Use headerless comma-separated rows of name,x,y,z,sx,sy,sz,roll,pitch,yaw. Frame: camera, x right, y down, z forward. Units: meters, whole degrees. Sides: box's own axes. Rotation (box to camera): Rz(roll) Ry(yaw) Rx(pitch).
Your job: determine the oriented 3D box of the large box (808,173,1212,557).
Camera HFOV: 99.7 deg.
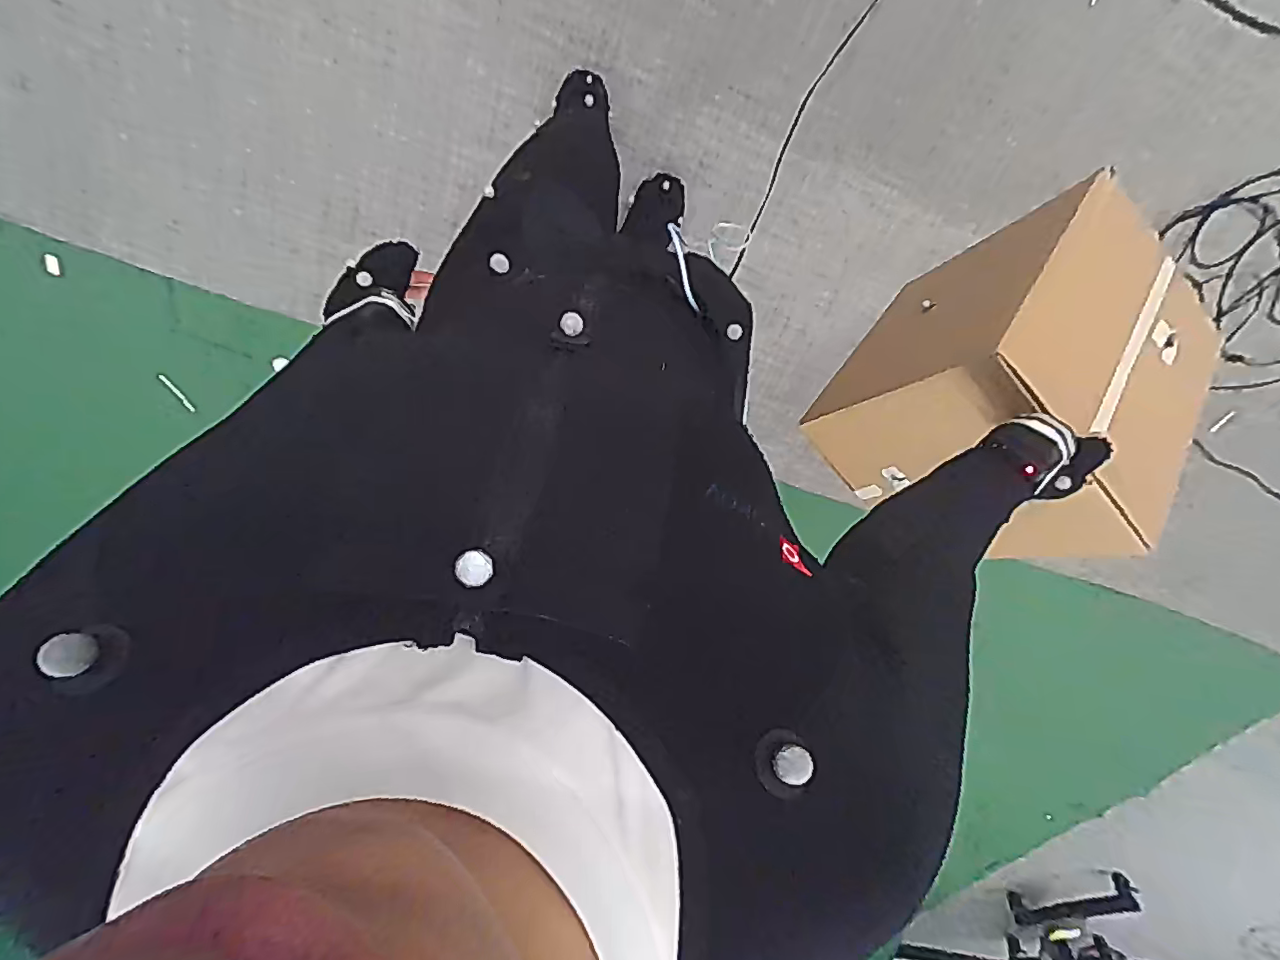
large box,0.529,-0.138,0.799,0.320,0.408,0.320,46,157,-11
